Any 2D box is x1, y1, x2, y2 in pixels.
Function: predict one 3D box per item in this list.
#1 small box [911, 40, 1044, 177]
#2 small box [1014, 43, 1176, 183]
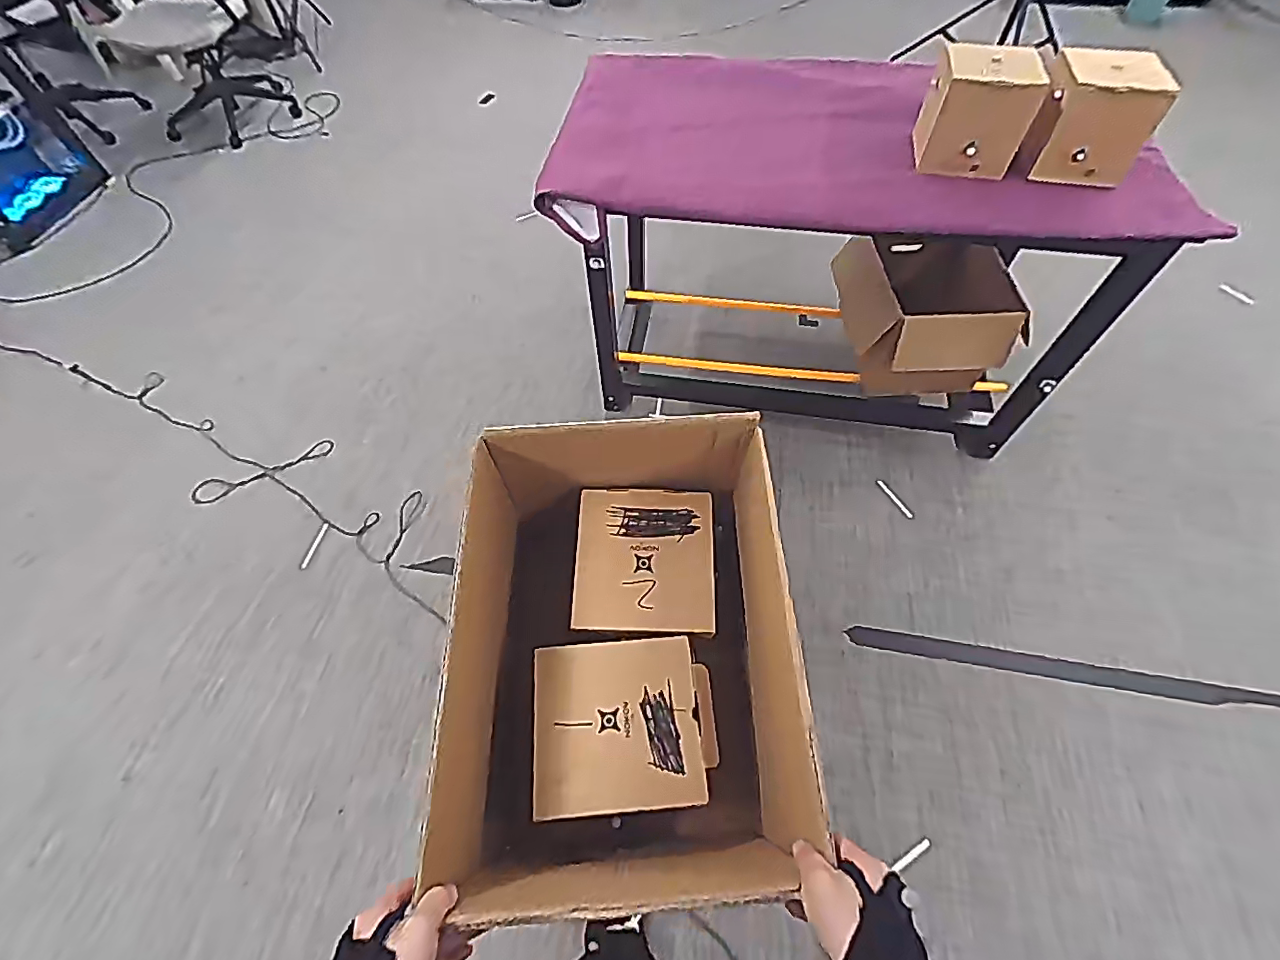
[{"bbox_3d":[0.655,-0.737,1.075,0.168,0.176,0.179,10,58,9],"label":"small box"},{"bbox_3d":[0.863,-0.711,1.051,0.168,0.176,0.179,10,57,9],"label":"small box"}]
